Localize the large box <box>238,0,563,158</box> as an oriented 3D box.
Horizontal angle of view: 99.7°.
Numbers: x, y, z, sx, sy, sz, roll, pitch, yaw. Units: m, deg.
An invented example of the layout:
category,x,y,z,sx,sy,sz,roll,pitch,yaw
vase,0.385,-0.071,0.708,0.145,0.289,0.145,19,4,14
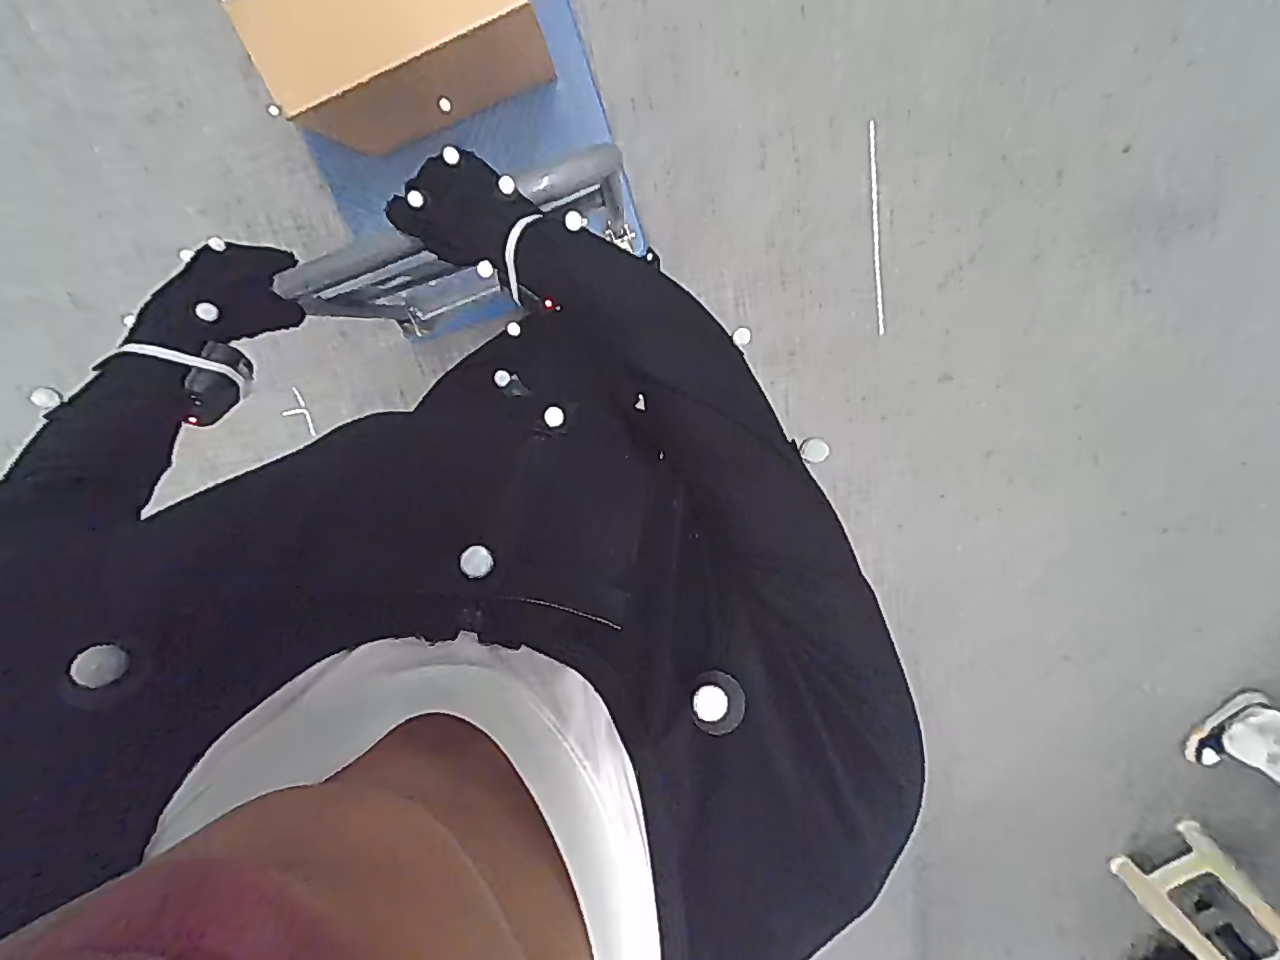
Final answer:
category,x,y,z,sx,sy,sz,roll,pitch,yaw
large box,-0.382,-0.792,0.881,0.408,0.320,0.320,-20,109,7
